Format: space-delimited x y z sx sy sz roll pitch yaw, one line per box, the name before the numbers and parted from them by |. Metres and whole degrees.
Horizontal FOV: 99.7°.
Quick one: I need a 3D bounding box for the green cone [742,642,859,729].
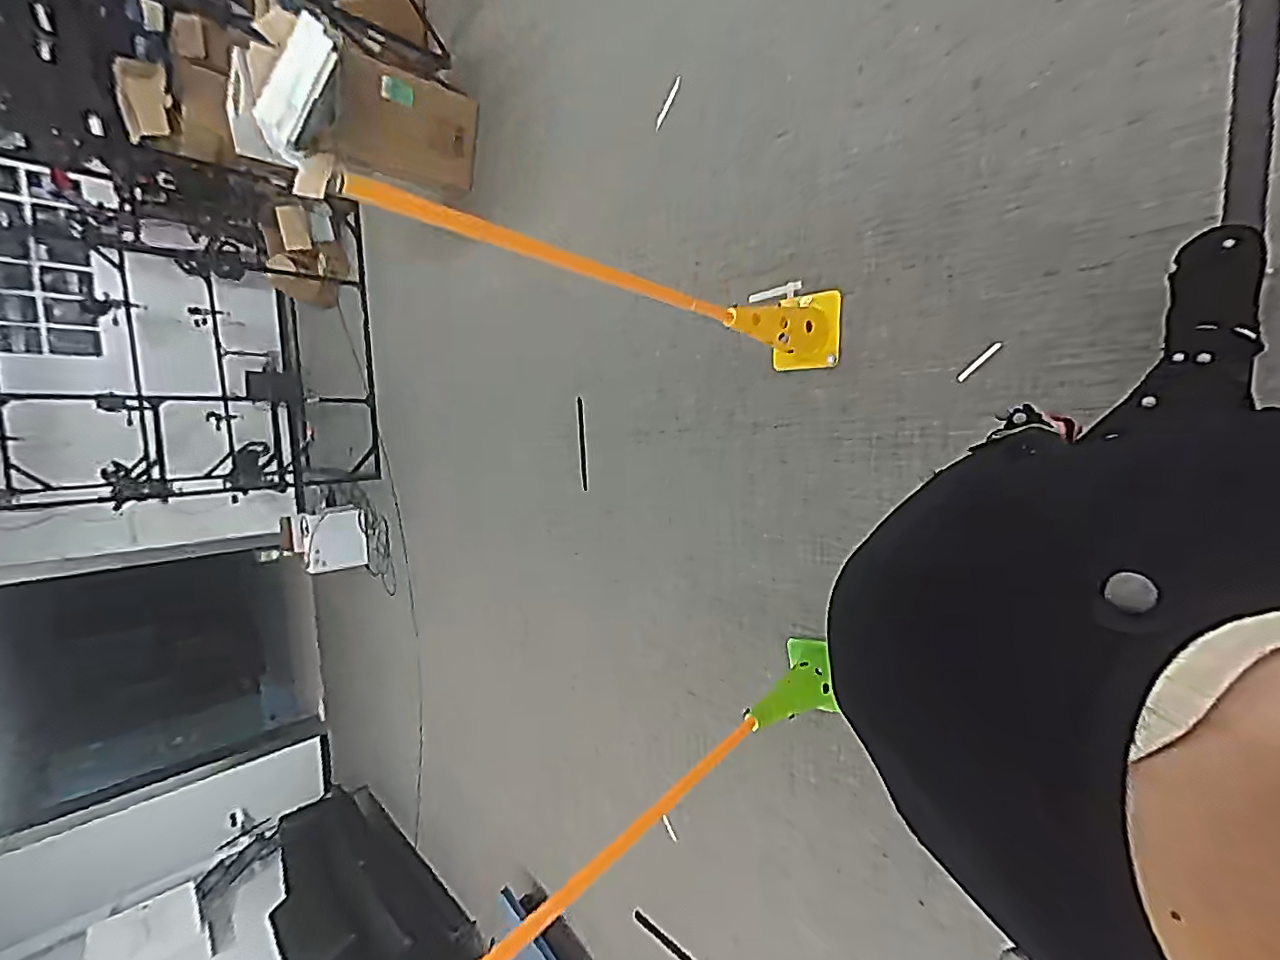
green cone | 0.395 0.576 1.422 0.200 0.368 0.202 -12 84 46
